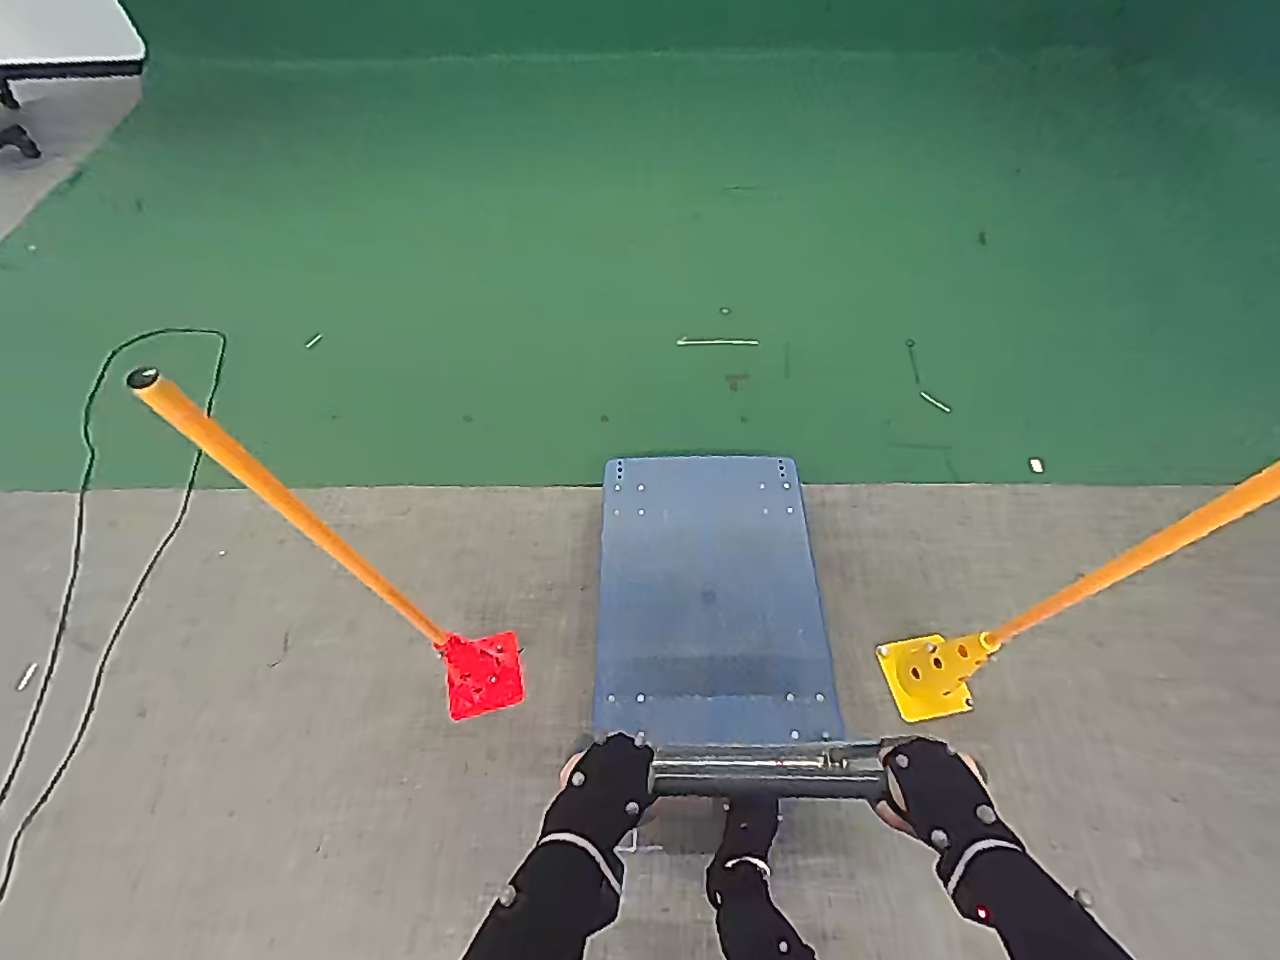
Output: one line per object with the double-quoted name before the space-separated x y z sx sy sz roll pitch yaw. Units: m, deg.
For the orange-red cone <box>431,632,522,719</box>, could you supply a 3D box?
"orange-red cone" -0.431 0.442 1.324 0.199 0.360 0.198 -13 59 -5
